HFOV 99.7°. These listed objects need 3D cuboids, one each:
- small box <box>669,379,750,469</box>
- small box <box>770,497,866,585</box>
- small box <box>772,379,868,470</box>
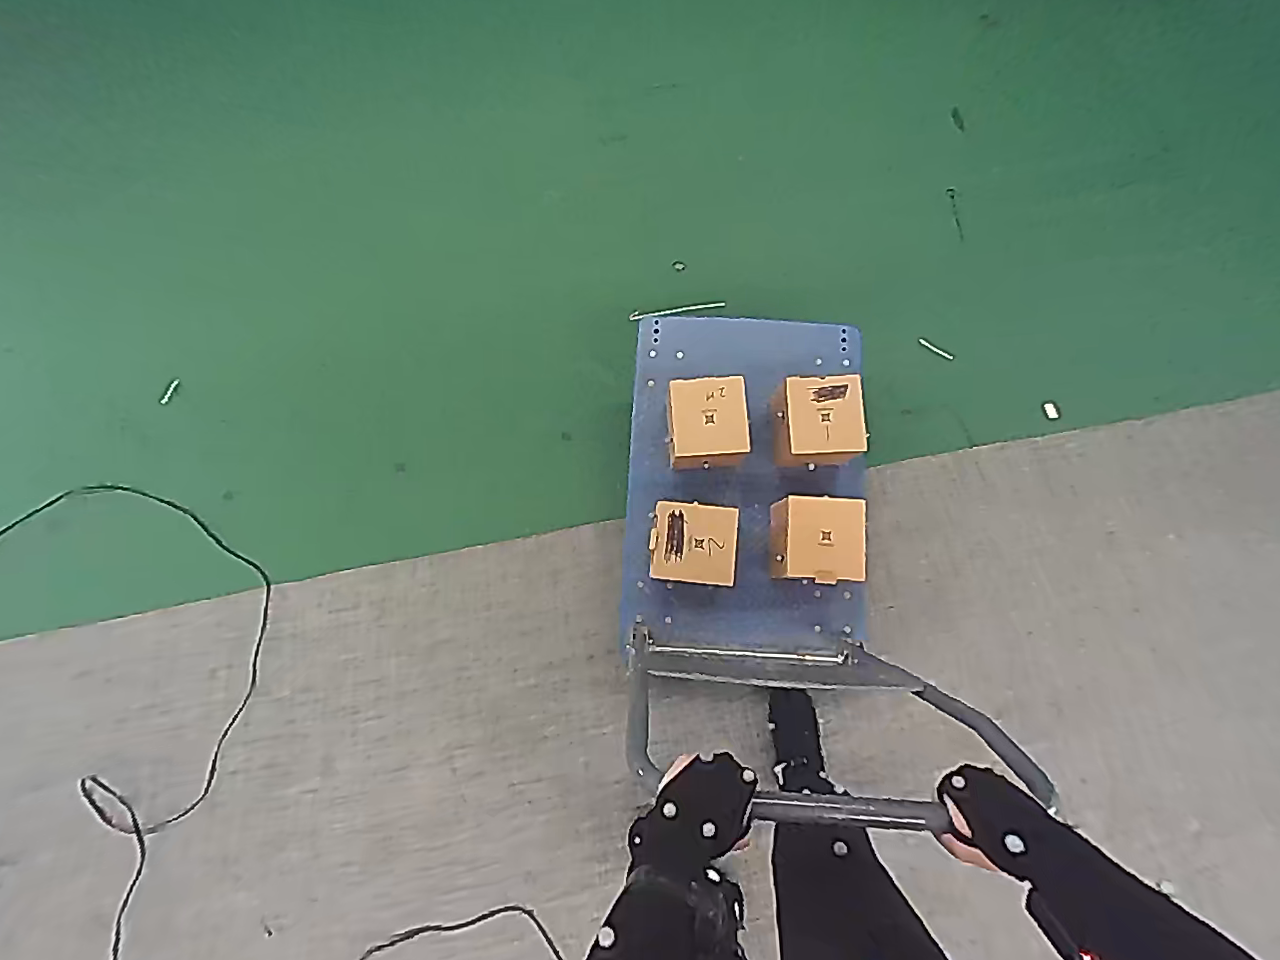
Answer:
[{"bbox_3d":[0.157,-0.123,1.262,0.168,0.176,0.179,-3,81,-1],"label":"small box"},{"bbox_3d":[0.394,0.141,1.220,0.168,0.176,0.179,4,82,1],"label":"small box"},{"bbox_3d":[0.410,-0.124,1.261,0.168,0.176,0.179,-1,81,1],"label":"small box"}]
